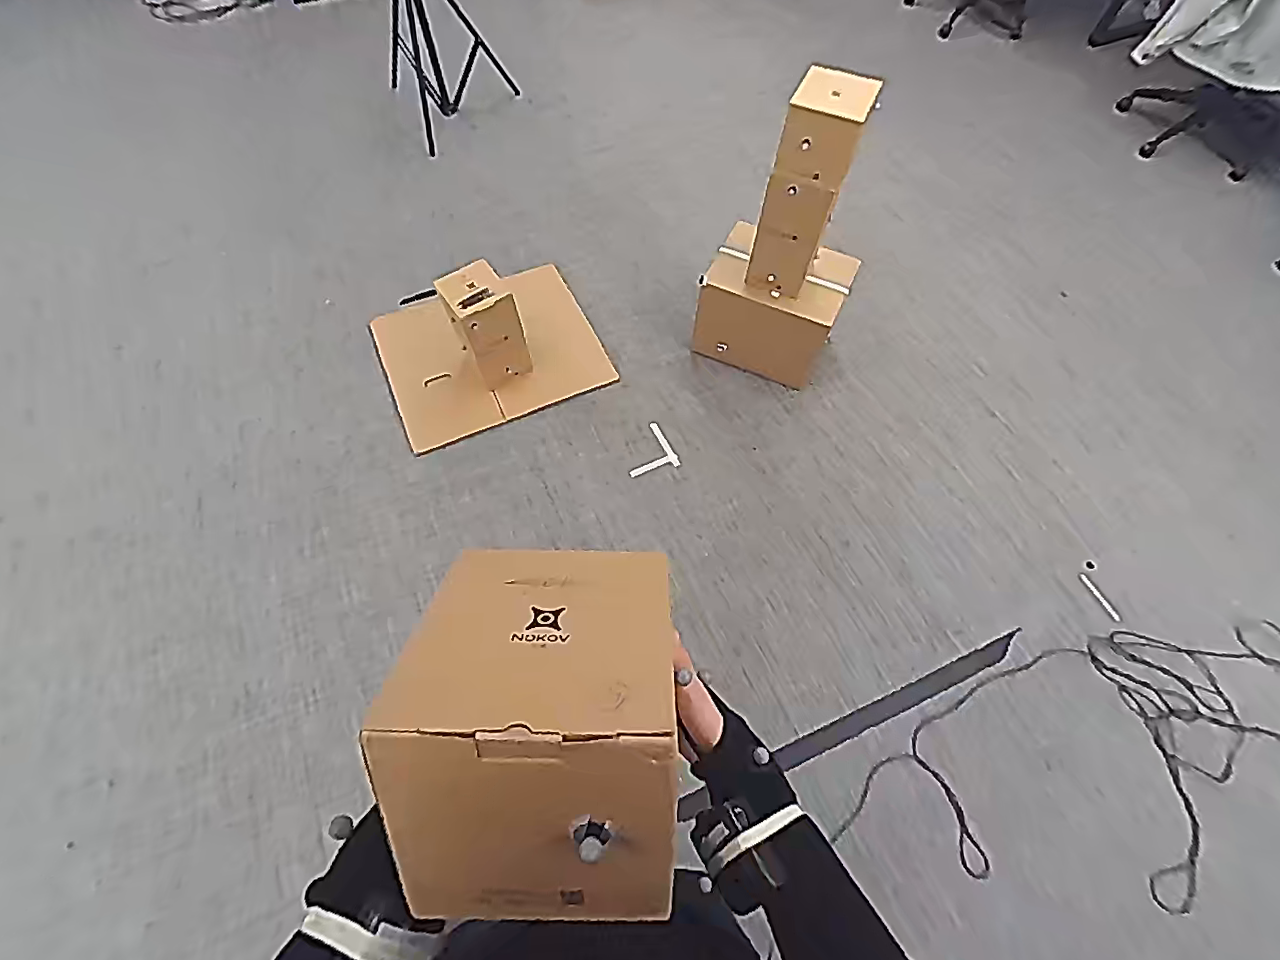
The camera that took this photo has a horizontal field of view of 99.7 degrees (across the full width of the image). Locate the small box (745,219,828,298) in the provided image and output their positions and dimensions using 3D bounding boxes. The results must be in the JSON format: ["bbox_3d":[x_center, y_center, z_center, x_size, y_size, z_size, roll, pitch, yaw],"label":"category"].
[{"bbox_3d":[0.415,-0.661,1.550,0.168,0.176,0.179,22,65,11],"label":"small box"}]

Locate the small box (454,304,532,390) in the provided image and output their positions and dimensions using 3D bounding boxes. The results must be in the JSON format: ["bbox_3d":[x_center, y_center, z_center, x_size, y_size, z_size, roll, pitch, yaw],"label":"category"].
[{"bbox_3d":[-0.471,-0.425,1.749,0.168,0.176,0.179,-31,68,-14],"label":"small box"}]

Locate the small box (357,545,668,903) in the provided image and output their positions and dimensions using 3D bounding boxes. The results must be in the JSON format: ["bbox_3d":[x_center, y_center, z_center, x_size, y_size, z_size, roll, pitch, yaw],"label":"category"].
[{"bbox_3d":[-0.065,0.162,0.385,0.168,0.176,0.179,1,24,-1],"label":"small box"}]

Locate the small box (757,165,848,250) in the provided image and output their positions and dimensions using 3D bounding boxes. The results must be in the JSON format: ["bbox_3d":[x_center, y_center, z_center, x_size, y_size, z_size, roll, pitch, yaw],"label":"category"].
[{"bbox_3d":[0.419,-0.739,1.406,0.168,0.176,0.179,23,64,11],"label":"small box"}]

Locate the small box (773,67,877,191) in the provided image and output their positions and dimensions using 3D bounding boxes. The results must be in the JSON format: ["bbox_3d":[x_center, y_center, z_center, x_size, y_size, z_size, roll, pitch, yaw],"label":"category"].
[{"bbox_3d":[0.423,-0.811,1.260,0.168,0.176,0.179,22,64,11],"label":"small box"}]
